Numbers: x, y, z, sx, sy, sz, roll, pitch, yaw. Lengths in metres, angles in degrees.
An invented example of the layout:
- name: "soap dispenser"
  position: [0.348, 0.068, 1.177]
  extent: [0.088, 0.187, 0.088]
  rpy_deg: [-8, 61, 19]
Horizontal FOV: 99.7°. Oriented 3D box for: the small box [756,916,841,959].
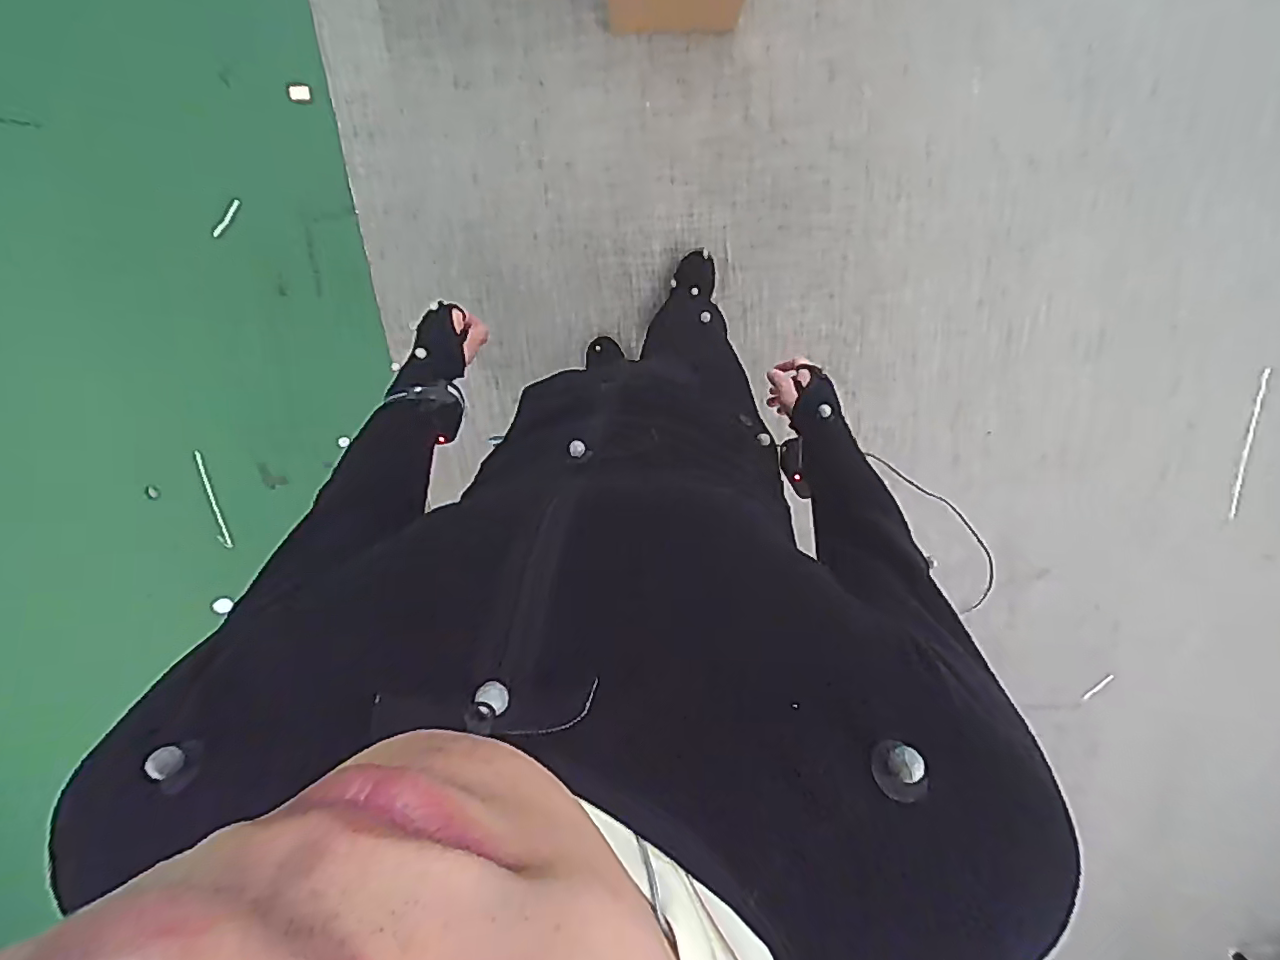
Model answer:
- name: "small box"
  position: [0.358, 1.109, 1.190]
  extent: [0.179, 0.176, 0.168]
  rpy_deg: [-10, 109, 3]
